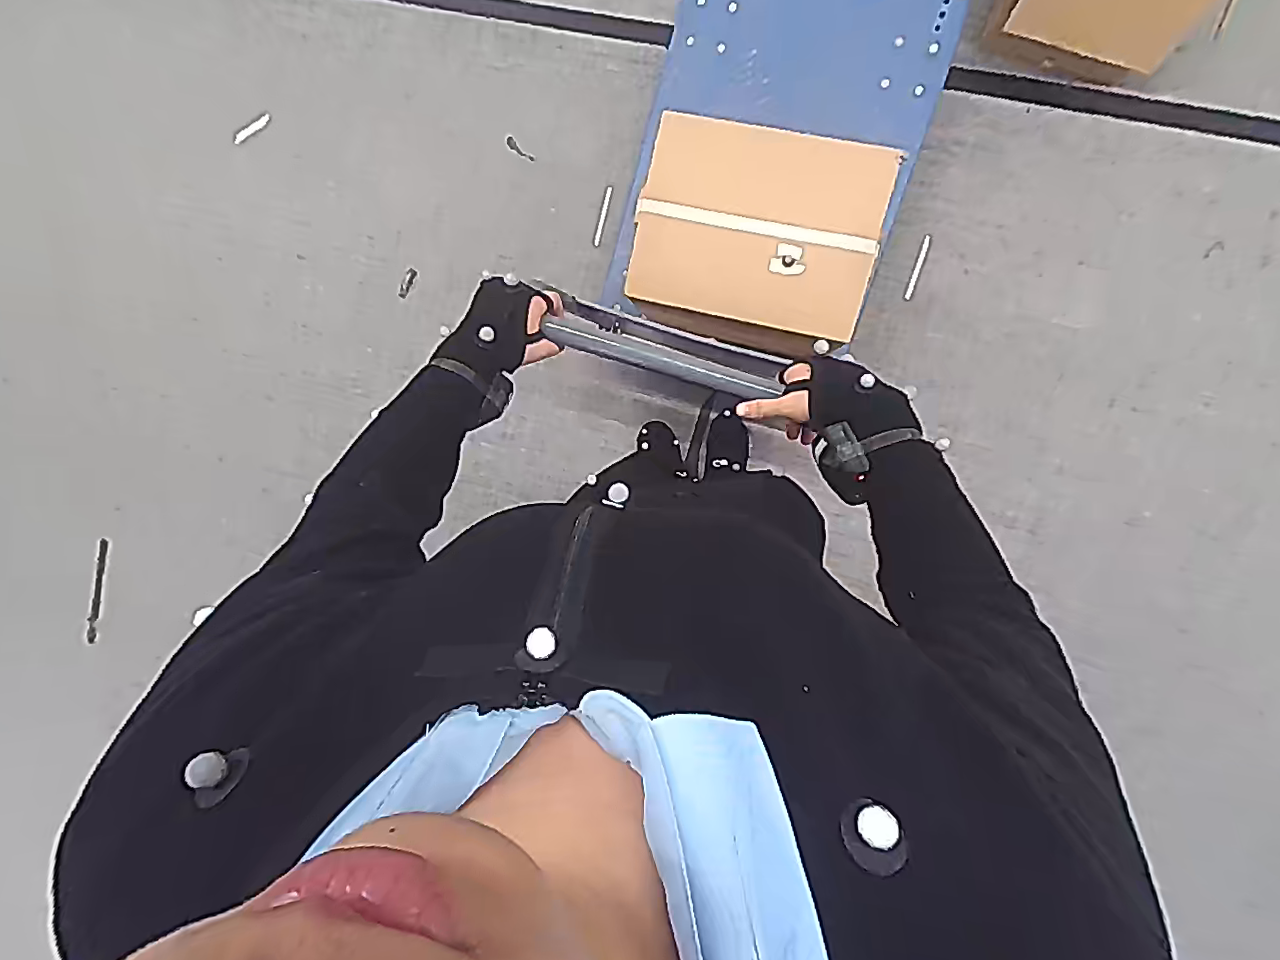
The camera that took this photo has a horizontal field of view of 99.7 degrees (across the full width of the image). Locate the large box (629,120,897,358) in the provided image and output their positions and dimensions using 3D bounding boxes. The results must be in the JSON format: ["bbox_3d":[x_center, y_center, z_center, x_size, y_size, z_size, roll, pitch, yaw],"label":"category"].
[{"bbox_3d":[0.220,-0.449,1.079,0.408,0.320,0.320,14,100,6],"label":"large box"}]
